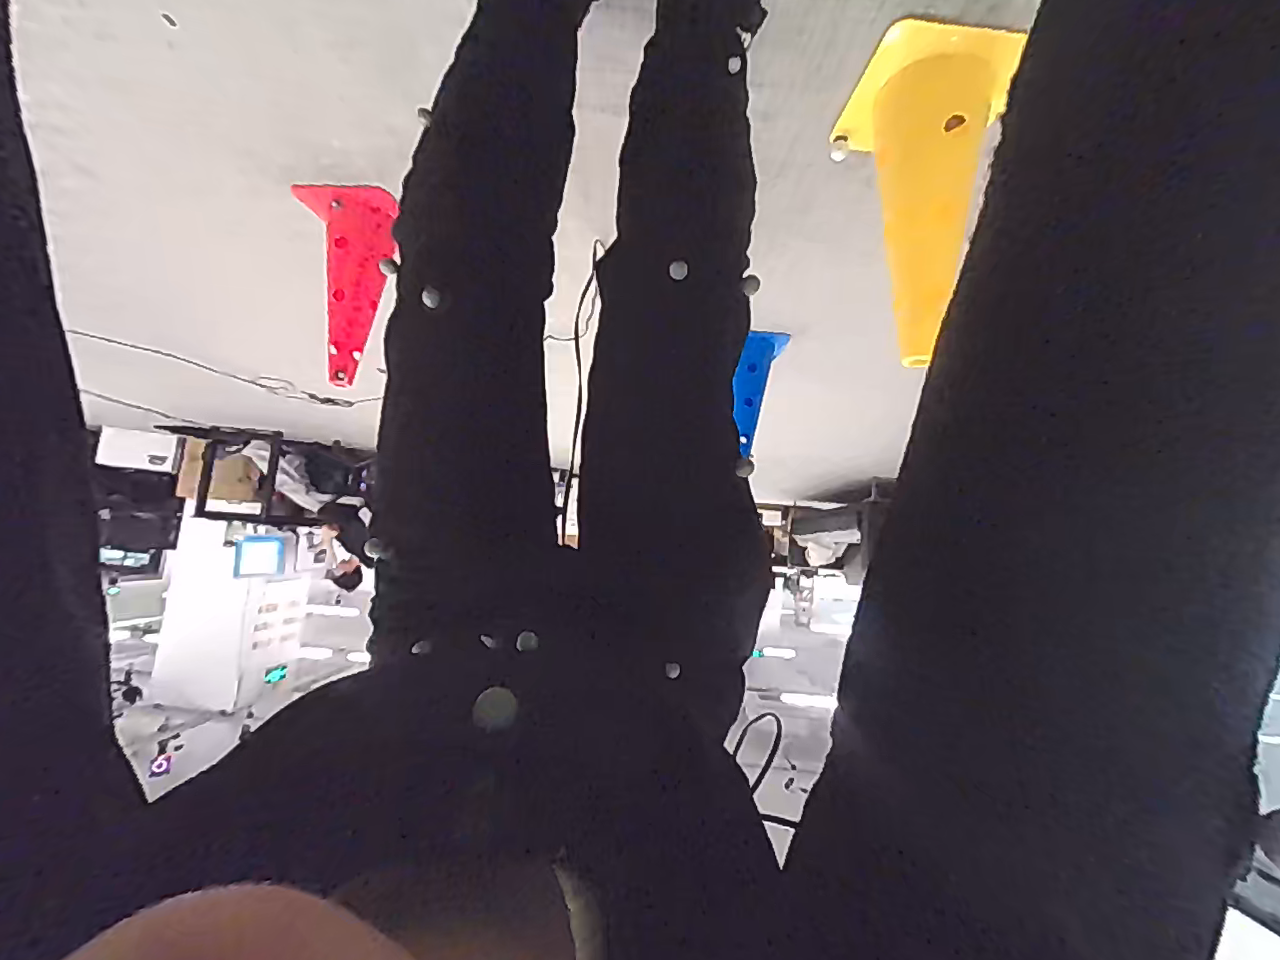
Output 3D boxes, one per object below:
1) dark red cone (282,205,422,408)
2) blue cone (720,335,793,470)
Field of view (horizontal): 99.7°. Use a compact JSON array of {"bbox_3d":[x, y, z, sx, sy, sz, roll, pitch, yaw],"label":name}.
[{"bbox_3d":[-0.590,-0.332,1.068,0.202,0.394,0.201,5,170,8],"label":"dark red cone"},{"bbox_3d":[0.321,-0.220,1.554,0.192,0.380,0.193,5,173,0],"label":"blue cone"}]
